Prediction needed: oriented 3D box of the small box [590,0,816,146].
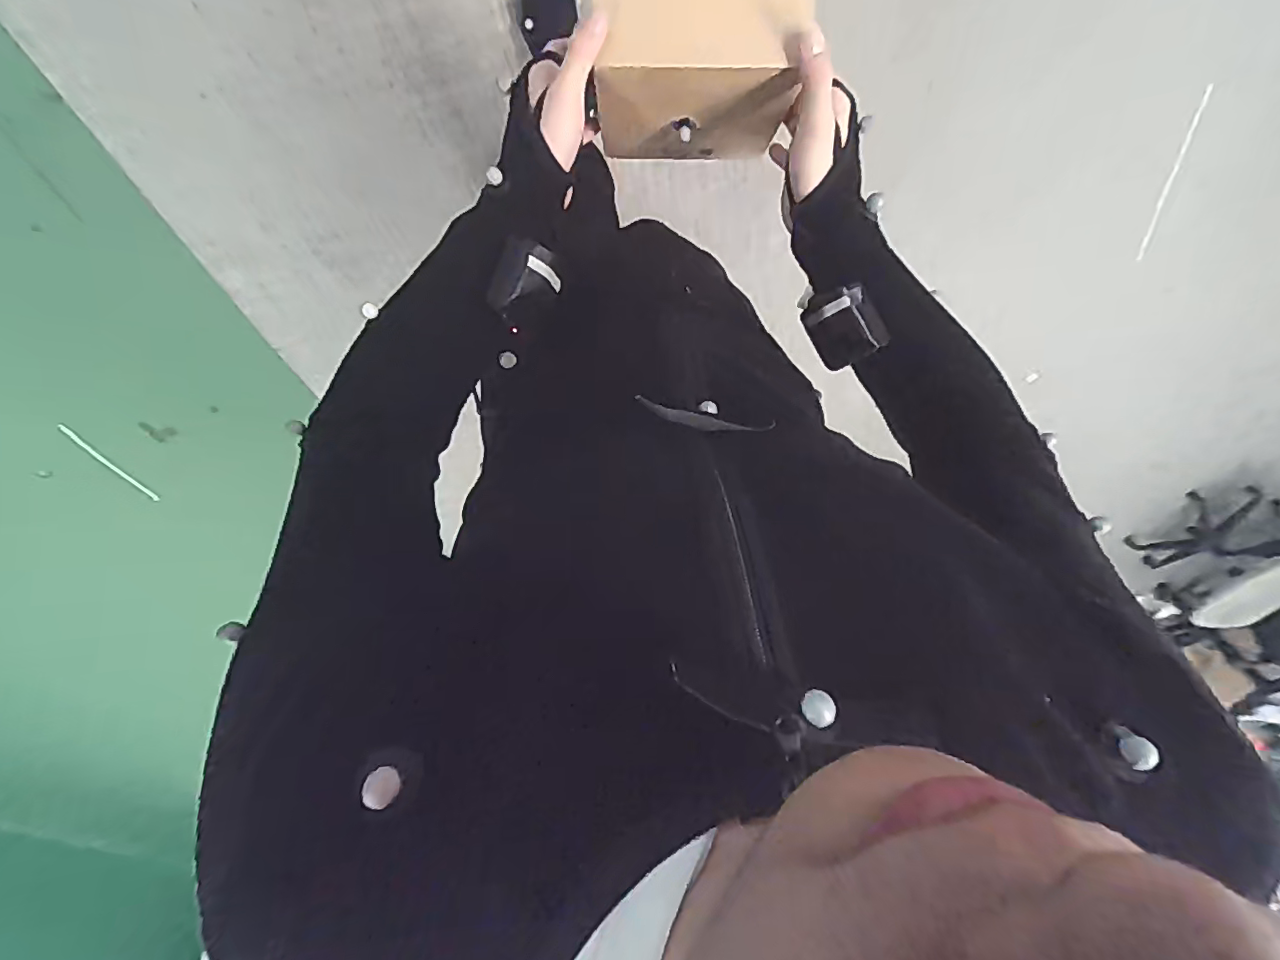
[{"bbox_3d":[0.047,-0.409,0.458,0.168,0.176,0.179,0,99,0],"label":"small box"}]
